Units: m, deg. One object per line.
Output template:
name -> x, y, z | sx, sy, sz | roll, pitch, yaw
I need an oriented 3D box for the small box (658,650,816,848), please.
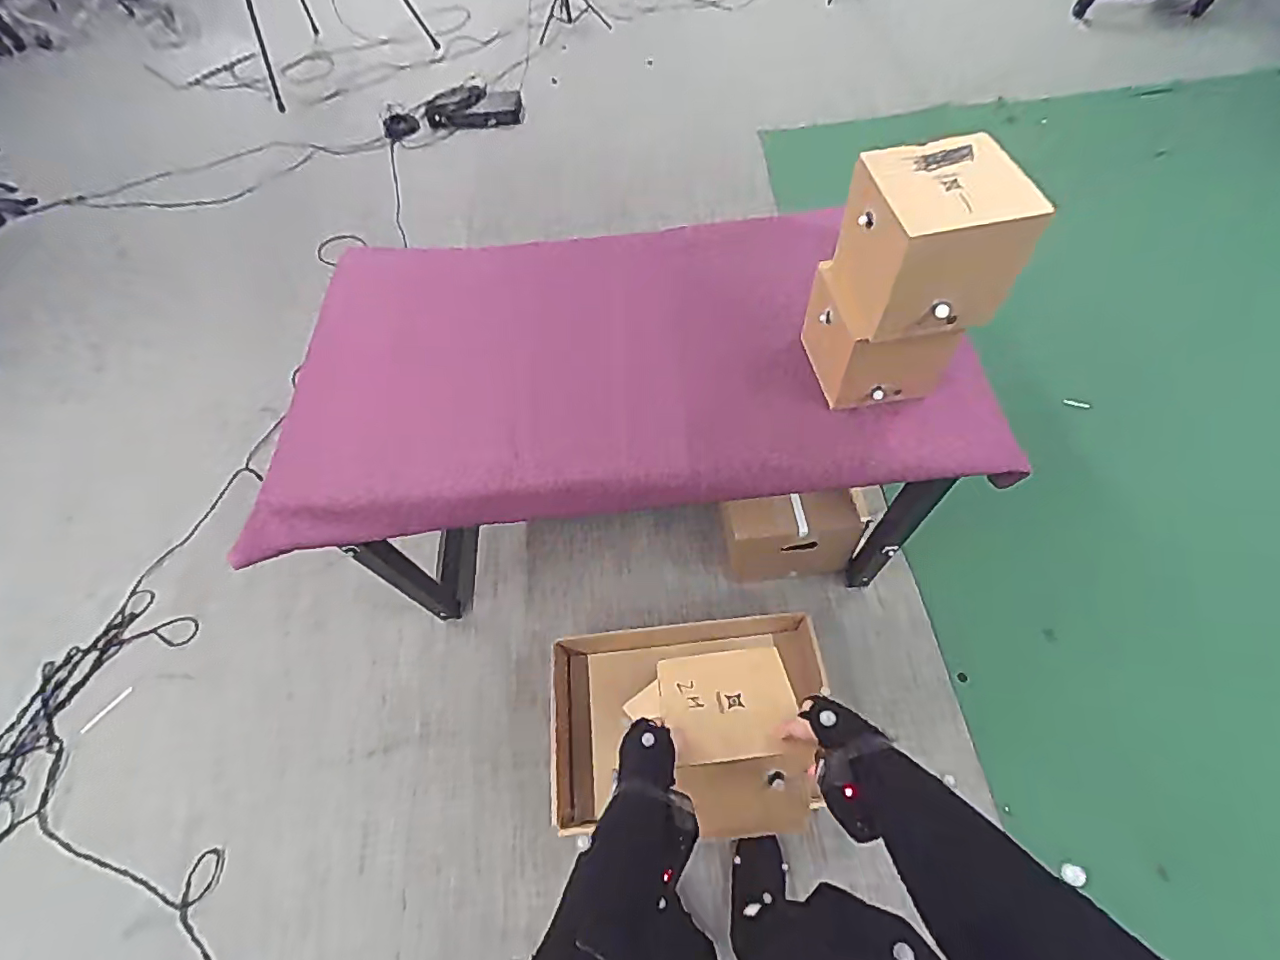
small box -> 0.122, 0.358, 0.726 | 0.179, 0.176, 0.168 | -7, 28, 1

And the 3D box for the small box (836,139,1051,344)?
small box -> 0.374, -0.308, 0.712 | 0.168, 0.176, 0.179 | -10, 58, 2

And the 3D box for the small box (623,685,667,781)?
small box -> 0.087, 0.551, 1.214 | 0.179, 0.176, 0.168 | -33, 62, -13

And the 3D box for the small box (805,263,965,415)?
small box -> 0.372, -0.230, 0.858 | 0.168, 0.176, 0.179 | -9, 58, 2
